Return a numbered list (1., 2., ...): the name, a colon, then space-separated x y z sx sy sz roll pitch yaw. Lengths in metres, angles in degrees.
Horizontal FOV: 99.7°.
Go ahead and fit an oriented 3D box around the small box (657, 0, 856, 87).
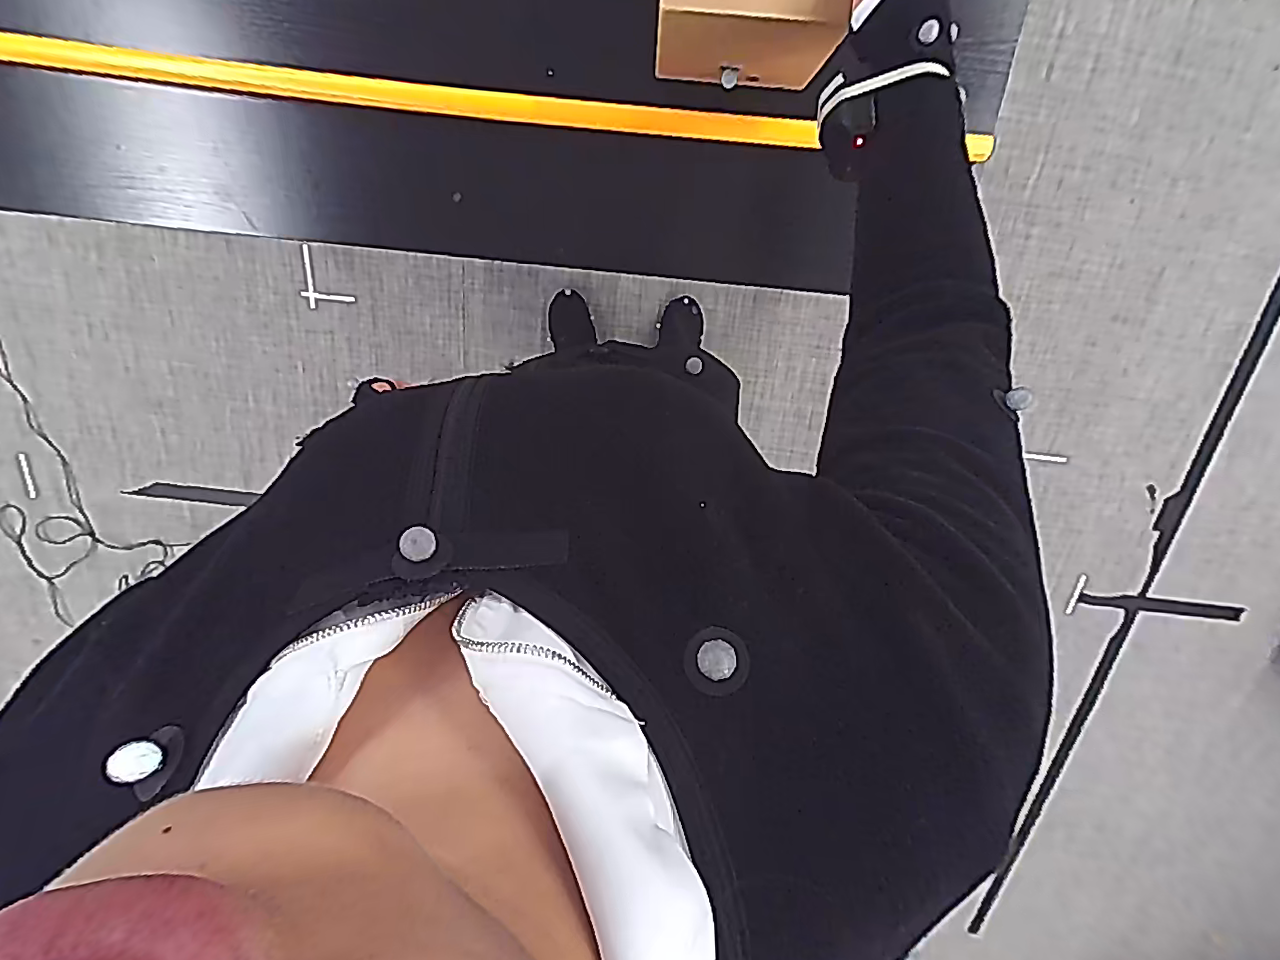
1. small box: 0.106 -0.499 0.497 0.168 0.176 0.179 5 111 -1
